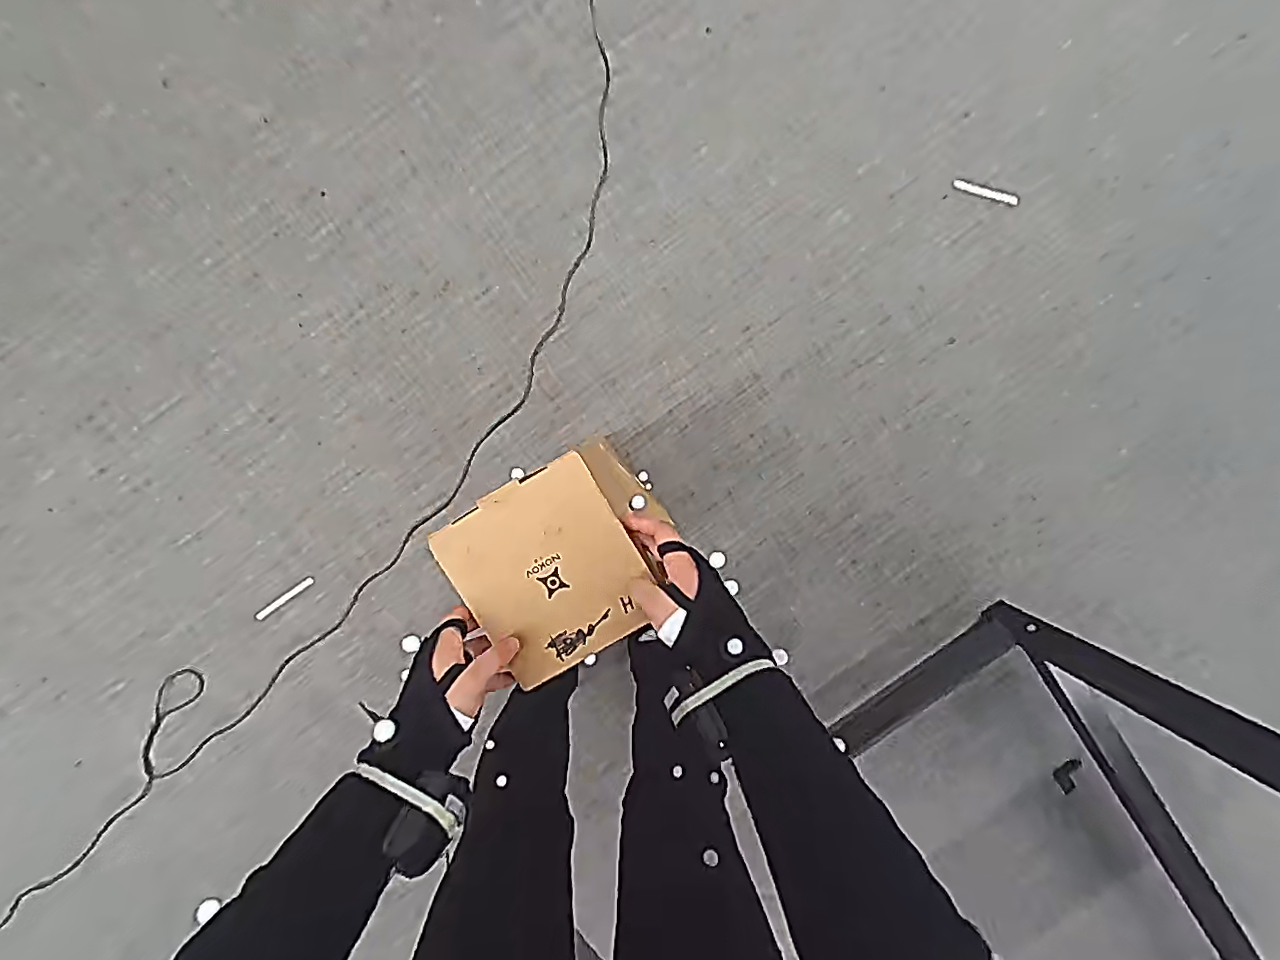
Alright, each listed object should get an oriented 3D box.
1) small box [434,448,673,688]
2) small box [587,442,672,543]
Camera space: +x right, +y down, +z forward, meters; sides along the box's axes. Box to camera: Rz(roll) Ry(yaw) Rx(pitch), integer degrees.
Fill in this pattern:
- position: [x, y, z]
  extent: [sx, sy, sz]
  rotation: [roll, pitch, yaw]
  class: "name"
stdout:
- position: [-0.079, 0.079, 0.582]
  extent: [0.168, 0.176, 0.179]
  rotation: [-31, 94, 5]
  class: "small box"
- position: [-0.073, 0.057, 0.848]
  extent: [0.179, 0.176, 0.168]
  rotation: [-43, 98, 1]
  class: "small box"
